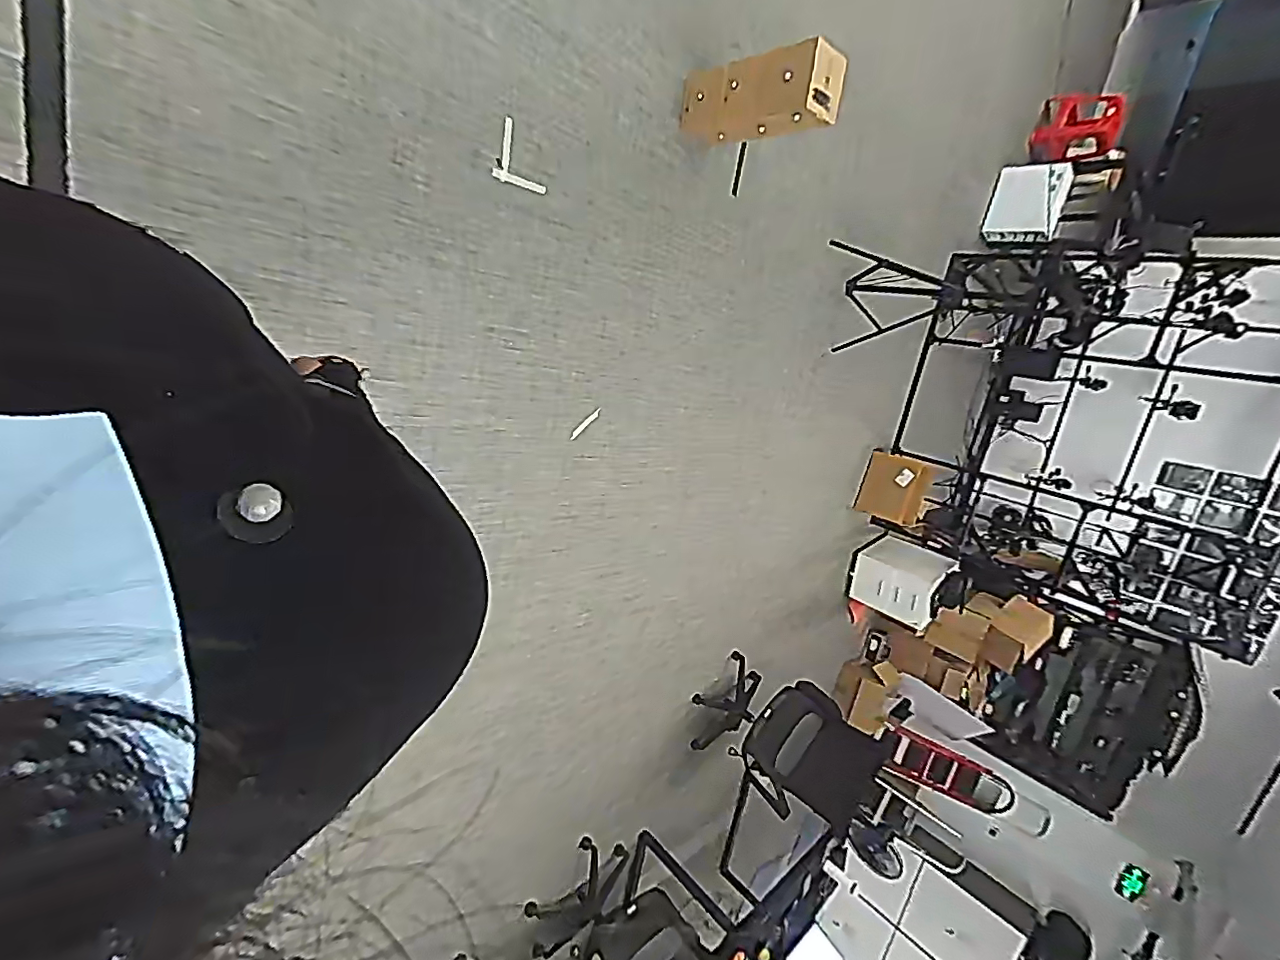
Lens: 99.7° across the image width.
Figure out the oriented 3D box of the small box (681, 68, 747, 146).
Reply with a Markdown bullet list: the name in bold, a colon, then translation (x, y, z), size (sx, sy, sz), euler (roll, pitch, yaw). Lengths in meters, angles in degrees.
- **small box**: translation (0.263, -1.260, 1.844), size (0.179, 0.176, 0.168), euler (-8, 113, -44)

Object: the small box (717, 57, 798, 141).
- **small box**: translation (0.375, -1.211, 1.736), size (0.179, 0.176, 0.168), euler (-5, 111, -43)
